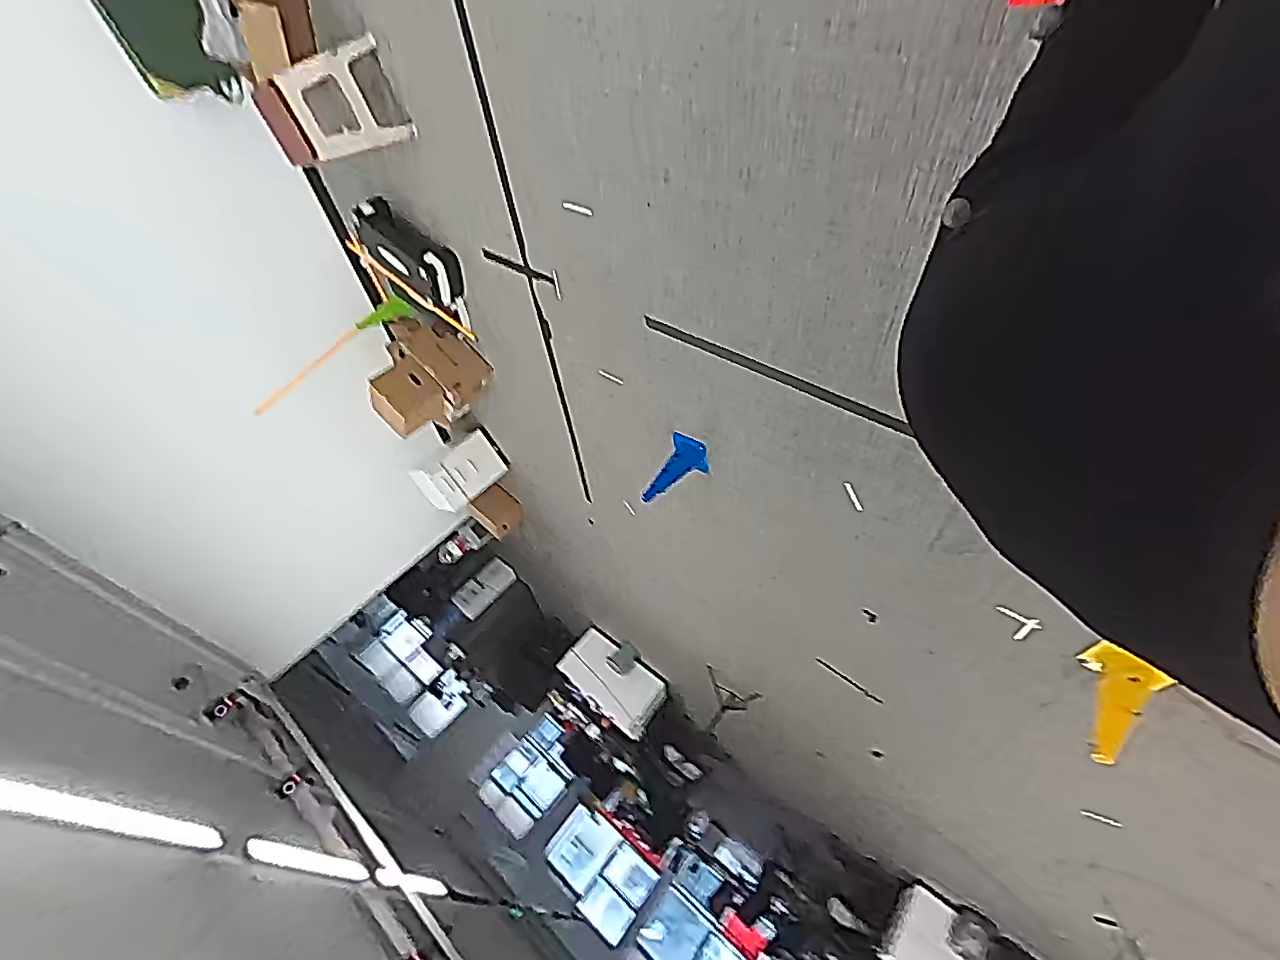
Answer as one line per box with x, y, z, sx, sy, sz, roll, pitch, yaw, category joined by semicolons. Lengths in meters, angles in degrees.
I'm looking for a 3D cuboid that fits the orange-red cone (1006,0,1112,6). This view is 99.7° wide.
0.615;-0.804;0.807;0.199;0.360;0.198;30;148;32;orange-red cone

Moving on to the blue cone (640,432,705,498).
0.133;-0.039;2.544;0.193;0.380;0.192;28;148;32;blue cone
